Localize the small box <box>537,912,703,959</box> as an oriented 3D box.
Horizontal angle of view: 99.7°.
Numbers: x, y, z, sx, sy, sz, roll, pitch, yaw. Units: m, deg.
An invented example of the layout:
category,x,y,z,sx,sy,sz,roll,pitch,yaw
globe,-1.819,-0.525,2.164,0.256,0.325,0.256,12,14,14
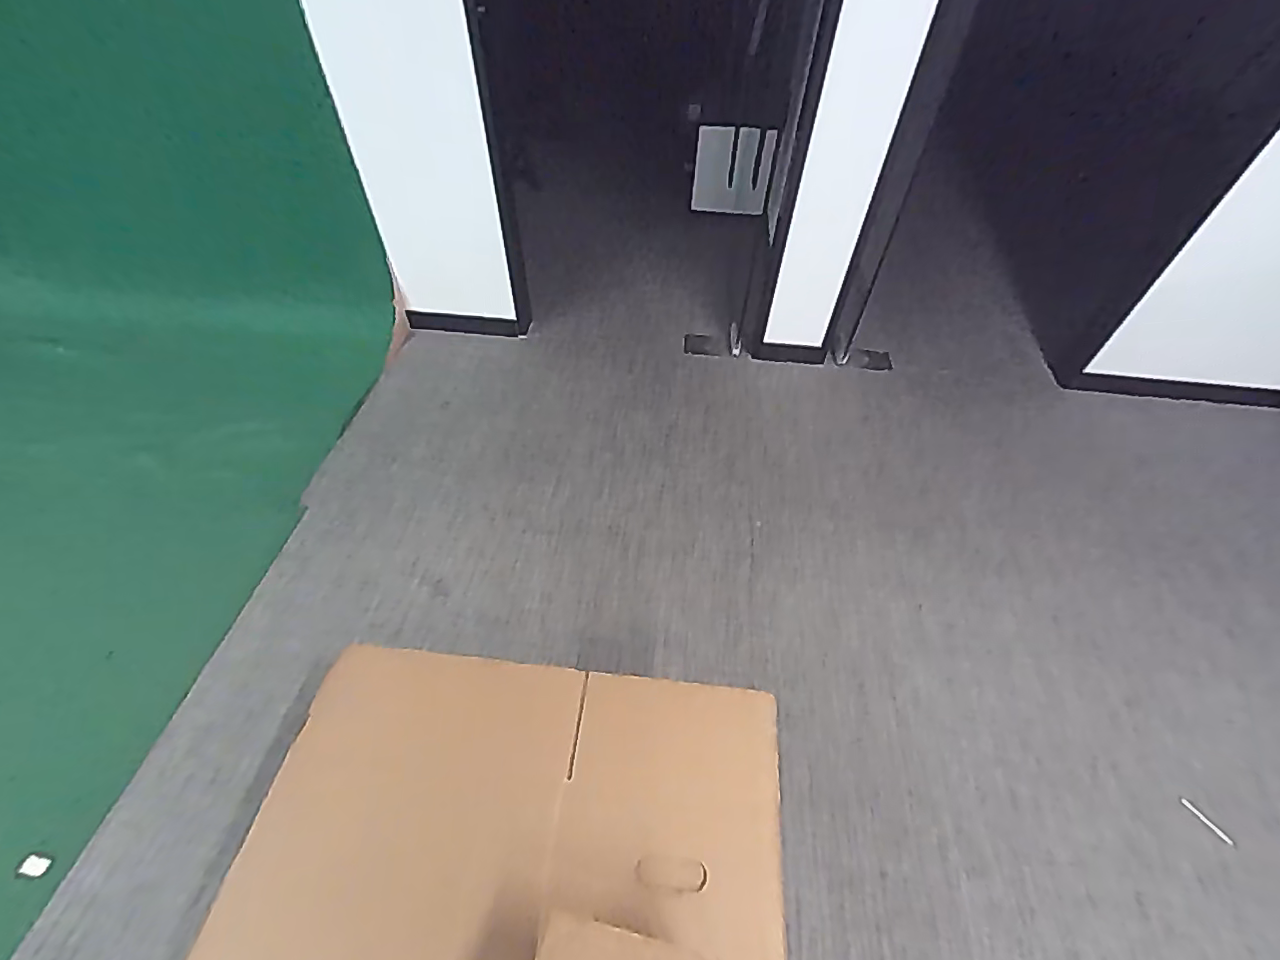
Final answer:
category,x,y,z,sx,sy,sz,roll,pitch,yaw
small box,-0.029,0.555,0.500,0.179,0.176,0.168,11,31,9
